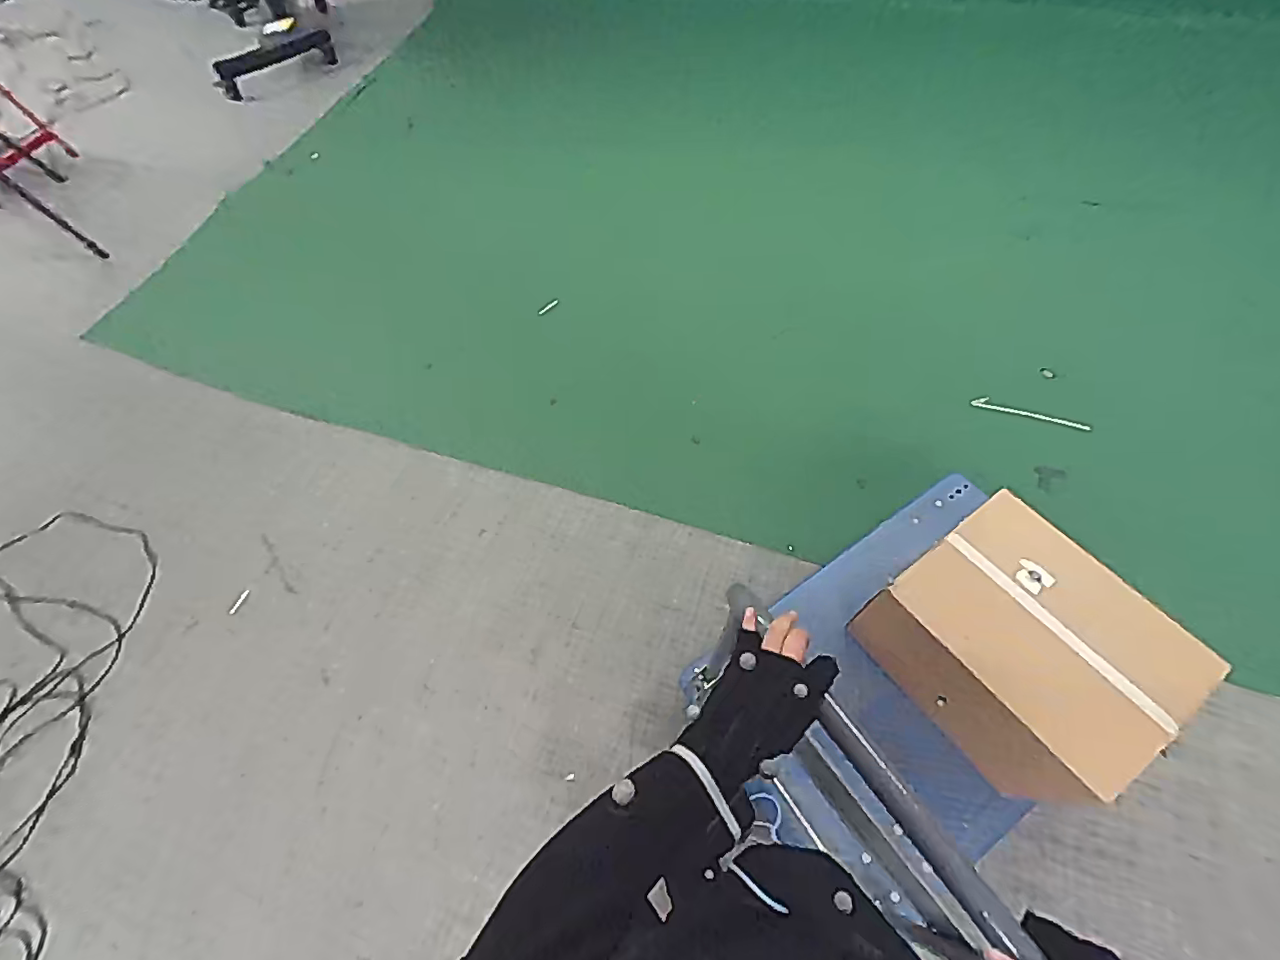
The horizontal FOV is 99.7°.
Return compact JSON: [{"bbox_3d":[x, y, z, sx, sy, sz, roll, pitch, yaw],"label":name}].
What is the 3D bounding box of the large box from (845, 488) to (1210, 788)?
[{"bbox_3d":[0.675,0.301,1.029,0.320,0.320,0.408,-35,63,-13],"label":"large box"}]
